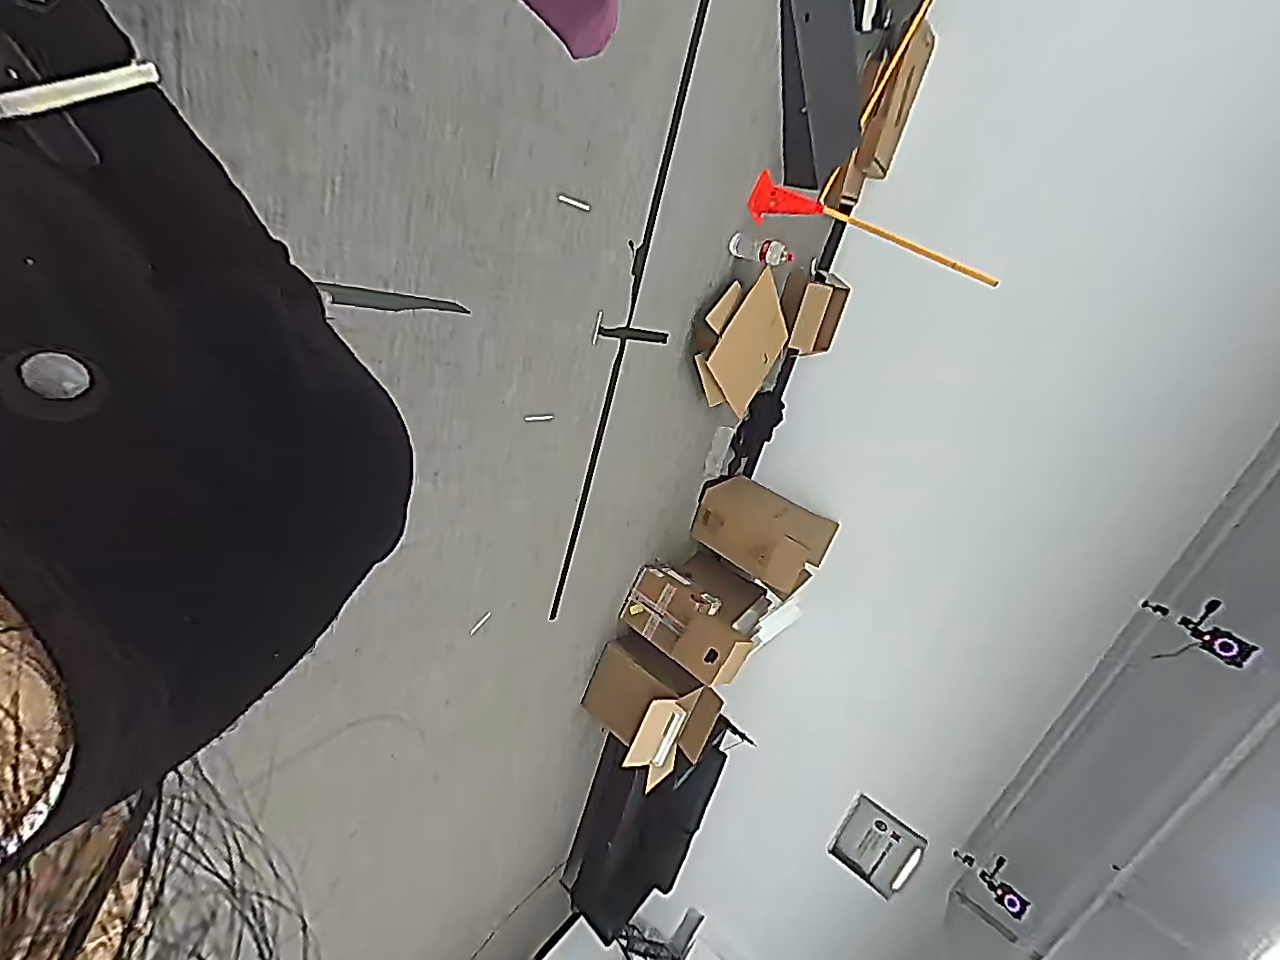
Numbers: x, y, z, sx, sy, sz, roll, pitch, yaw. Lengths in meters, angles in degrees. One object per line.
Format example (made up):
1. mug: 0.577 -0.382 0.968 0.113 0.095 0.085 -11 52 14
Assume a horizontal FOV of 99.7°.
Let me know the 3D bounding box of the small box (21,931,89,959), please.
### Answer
1. small box: -1.342 1.174 1.203 0.179 0.176 0.168 -14 125 -51
